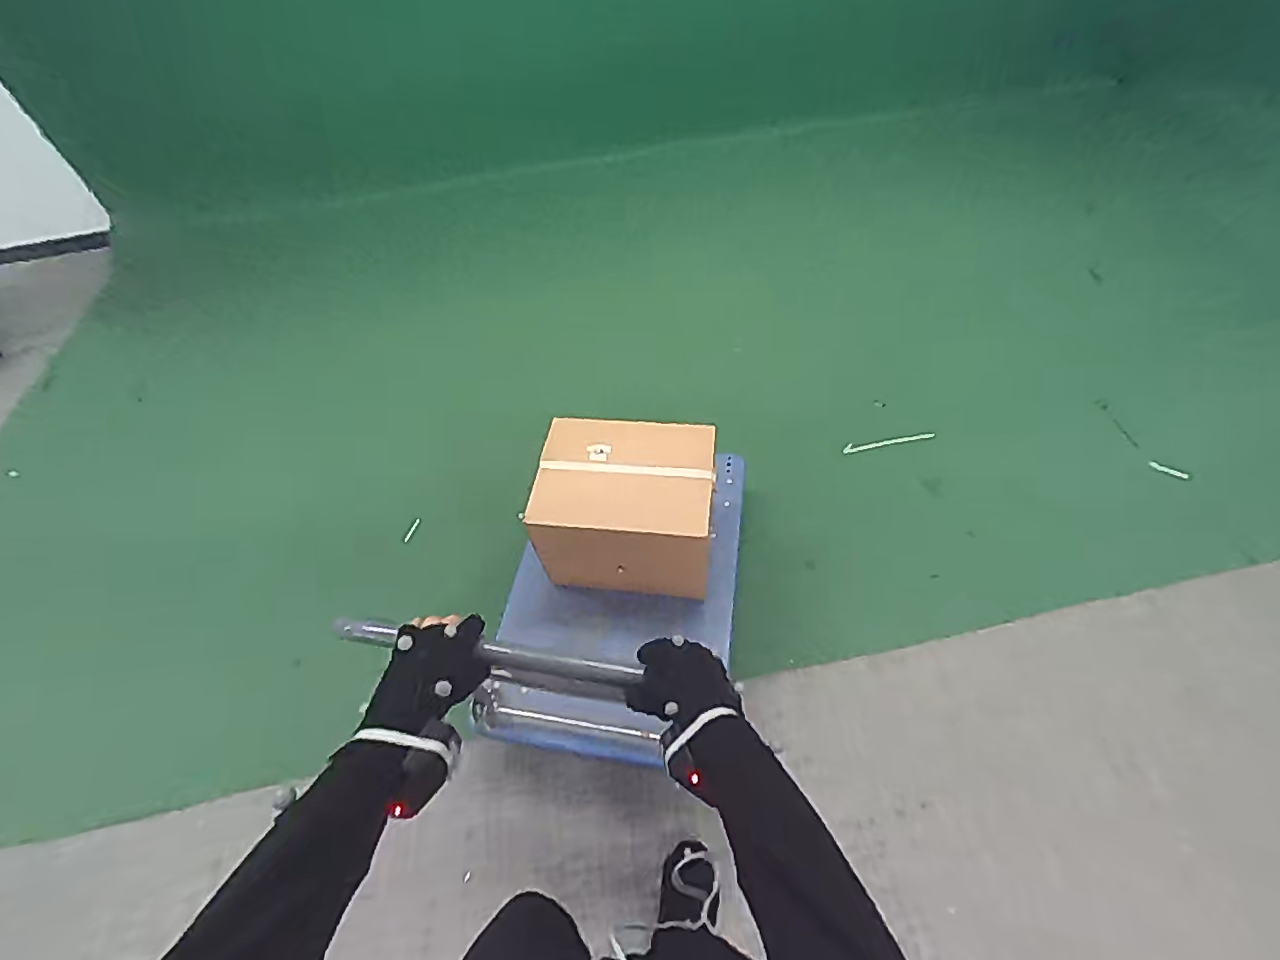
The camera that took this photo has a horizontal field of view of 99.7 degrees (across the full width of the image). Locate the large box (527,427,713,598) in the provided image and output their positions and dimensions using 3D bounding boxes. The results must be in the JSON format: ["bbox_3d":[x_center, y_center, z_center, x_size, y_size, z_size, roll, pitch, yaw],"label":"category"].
[{"bbox_3d":[-0.020,0.084,1.362,0.408,0.320,0.320,3,52,8],"label":"large box"}]
